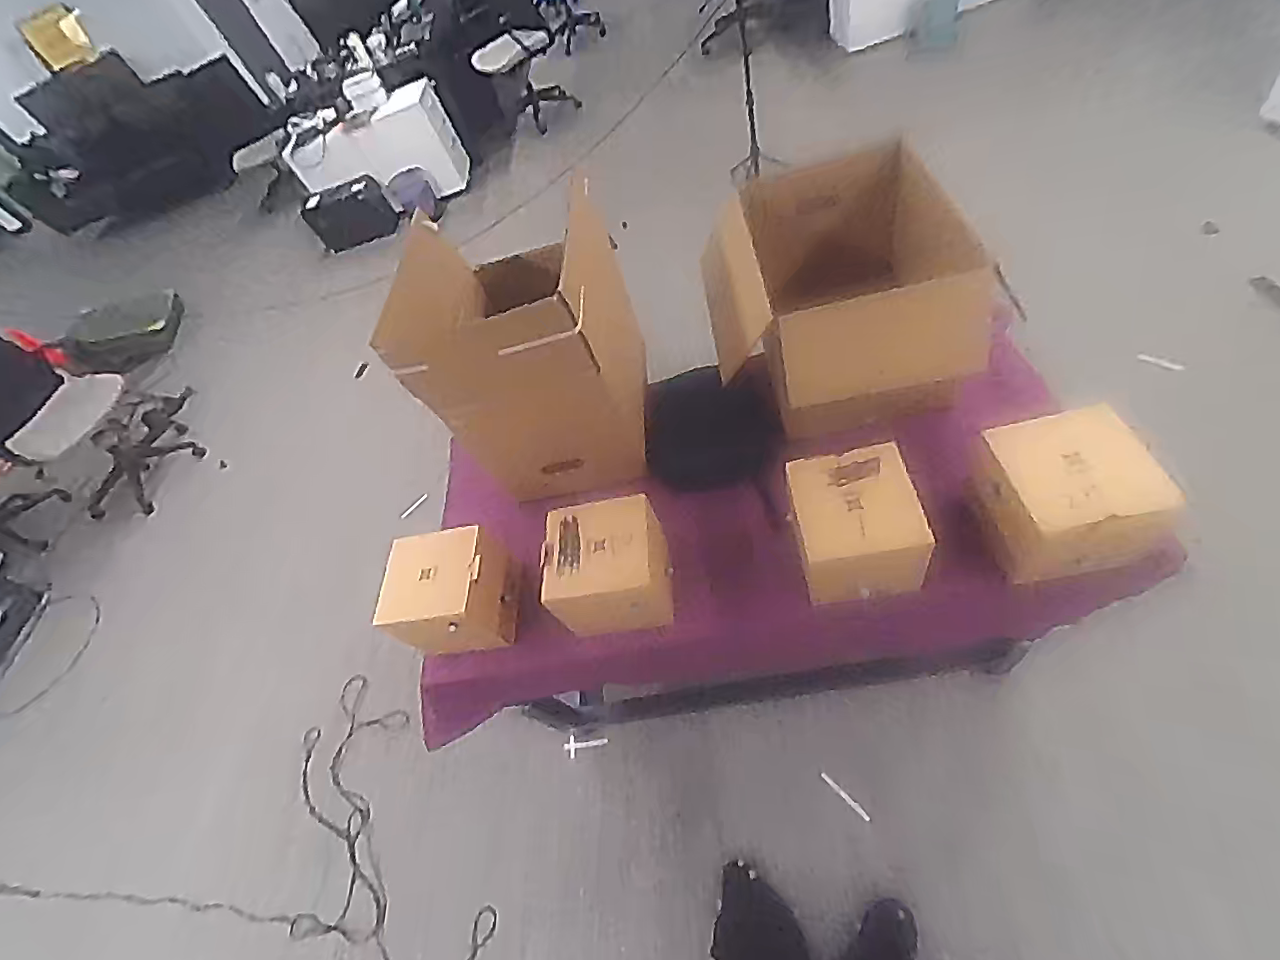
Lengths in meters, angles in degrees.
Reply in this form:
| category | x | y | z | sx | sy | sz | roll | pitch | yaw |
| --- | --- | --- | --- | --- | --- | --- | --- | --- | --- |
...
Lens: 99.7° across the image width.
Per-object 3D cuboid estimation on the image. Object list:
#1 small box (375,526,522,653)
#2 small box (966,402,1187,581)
| category | x | y | z | sx | sy | sz | roll | pitch | yaw |
| --- | --- | --- | --- | --- | --- | --- | --- | --- | --- |
| small box | -0.337 | 0.206 | 0.983 | 0.179 | 0.176 | 0.168 | -10 | 54 | 11 |
| small box | 0.597 | 0.022 | 0.775 | 0.168 | 0.176 | 0.179 | -14 | 53 | 12 |
